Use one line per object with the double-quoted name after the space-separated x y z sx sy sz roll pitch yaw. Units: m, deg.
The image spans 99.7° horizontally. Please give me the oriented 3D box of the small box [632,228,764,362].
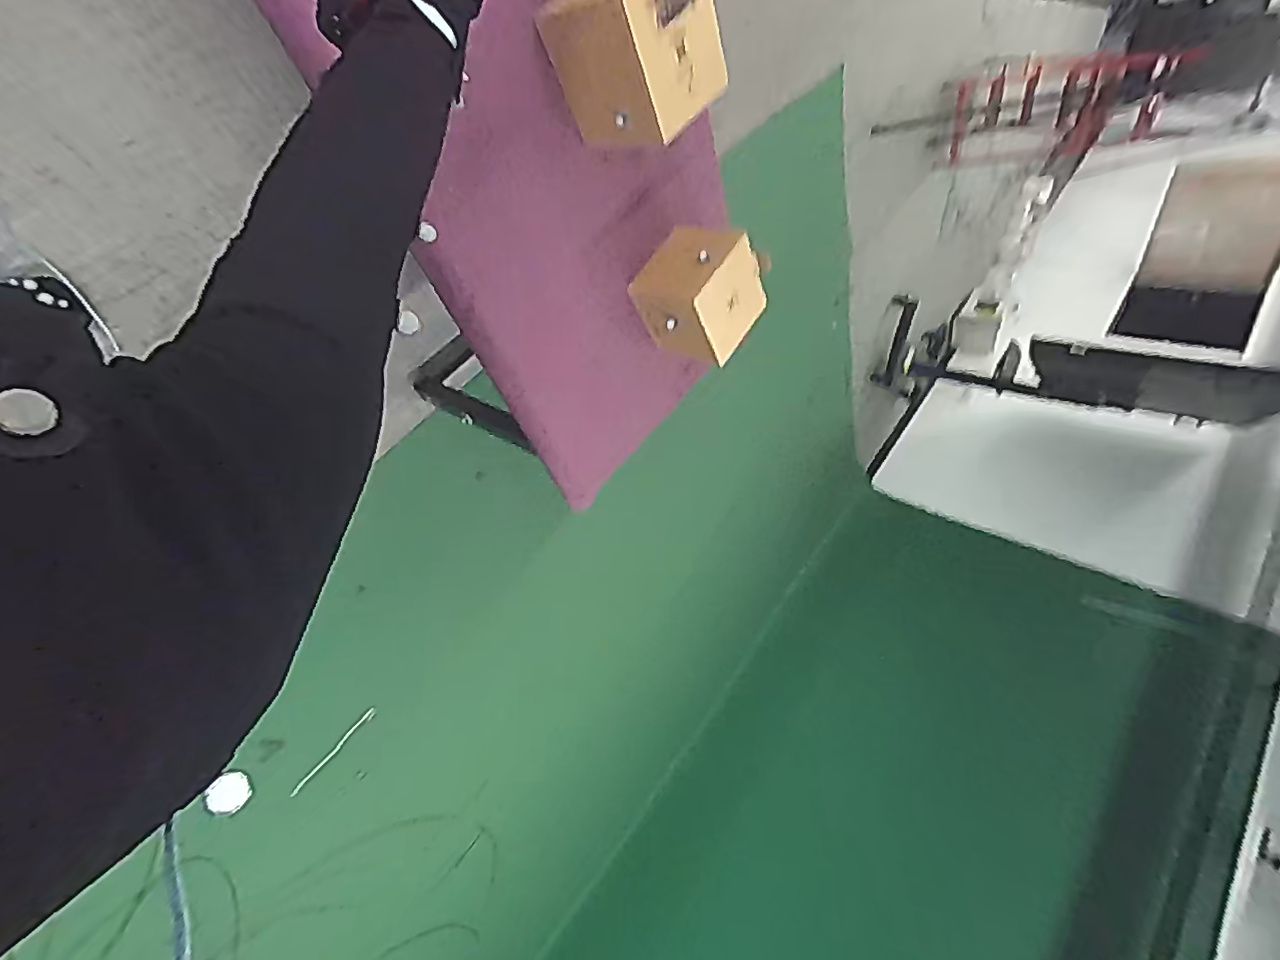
0.106 -0.358 1.038 0.179 0.176 0.168 -55 141 -14 "small box"
